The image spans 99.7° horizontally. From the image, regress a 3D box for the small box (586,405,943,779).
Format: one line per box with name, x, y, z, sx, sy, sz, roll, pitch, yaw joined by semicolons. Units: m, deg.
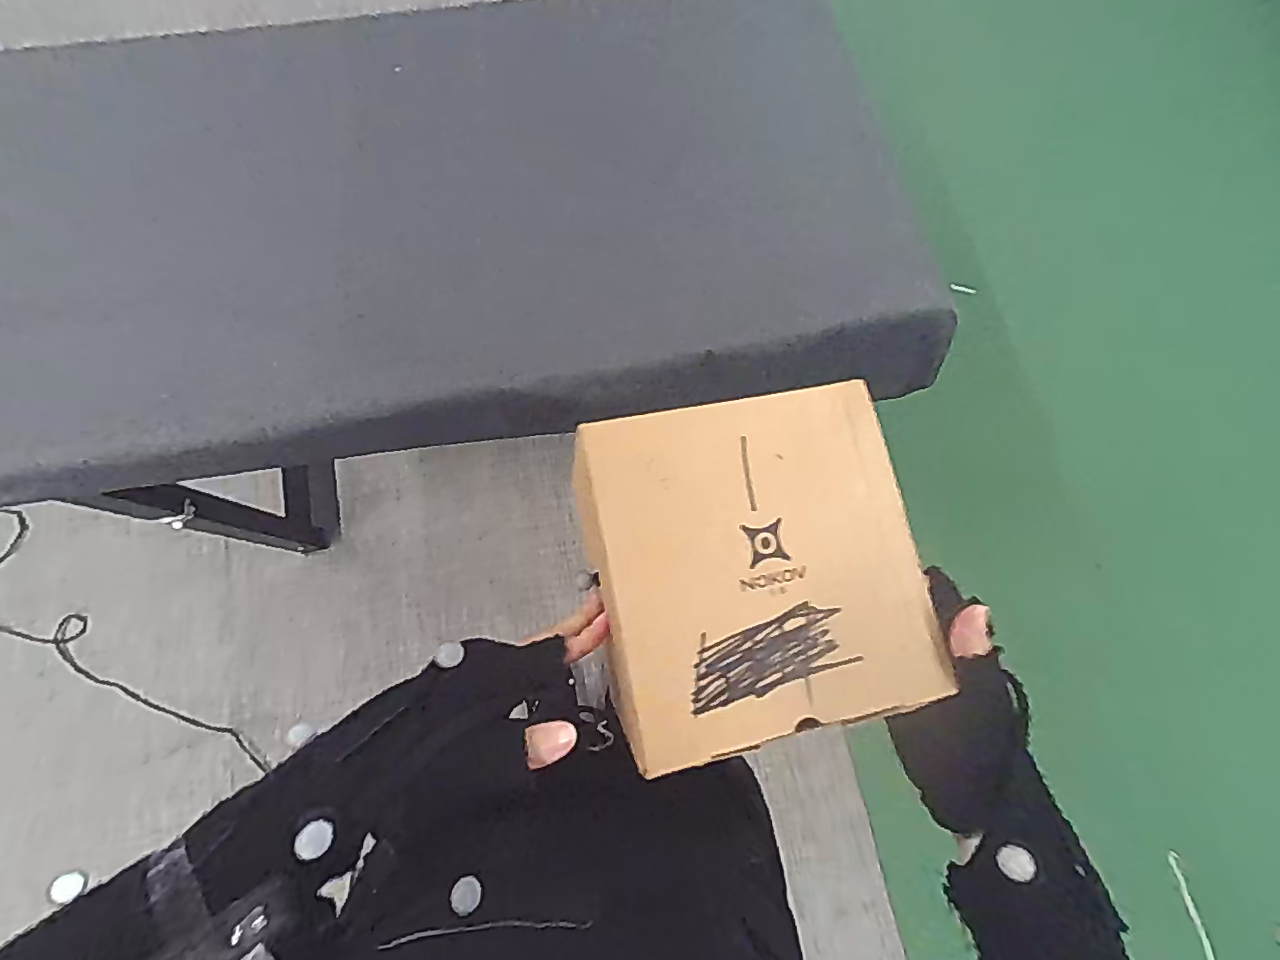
small box;0.058;0.066;0.365;0.168;0.176;0.179;-9;80;-10
